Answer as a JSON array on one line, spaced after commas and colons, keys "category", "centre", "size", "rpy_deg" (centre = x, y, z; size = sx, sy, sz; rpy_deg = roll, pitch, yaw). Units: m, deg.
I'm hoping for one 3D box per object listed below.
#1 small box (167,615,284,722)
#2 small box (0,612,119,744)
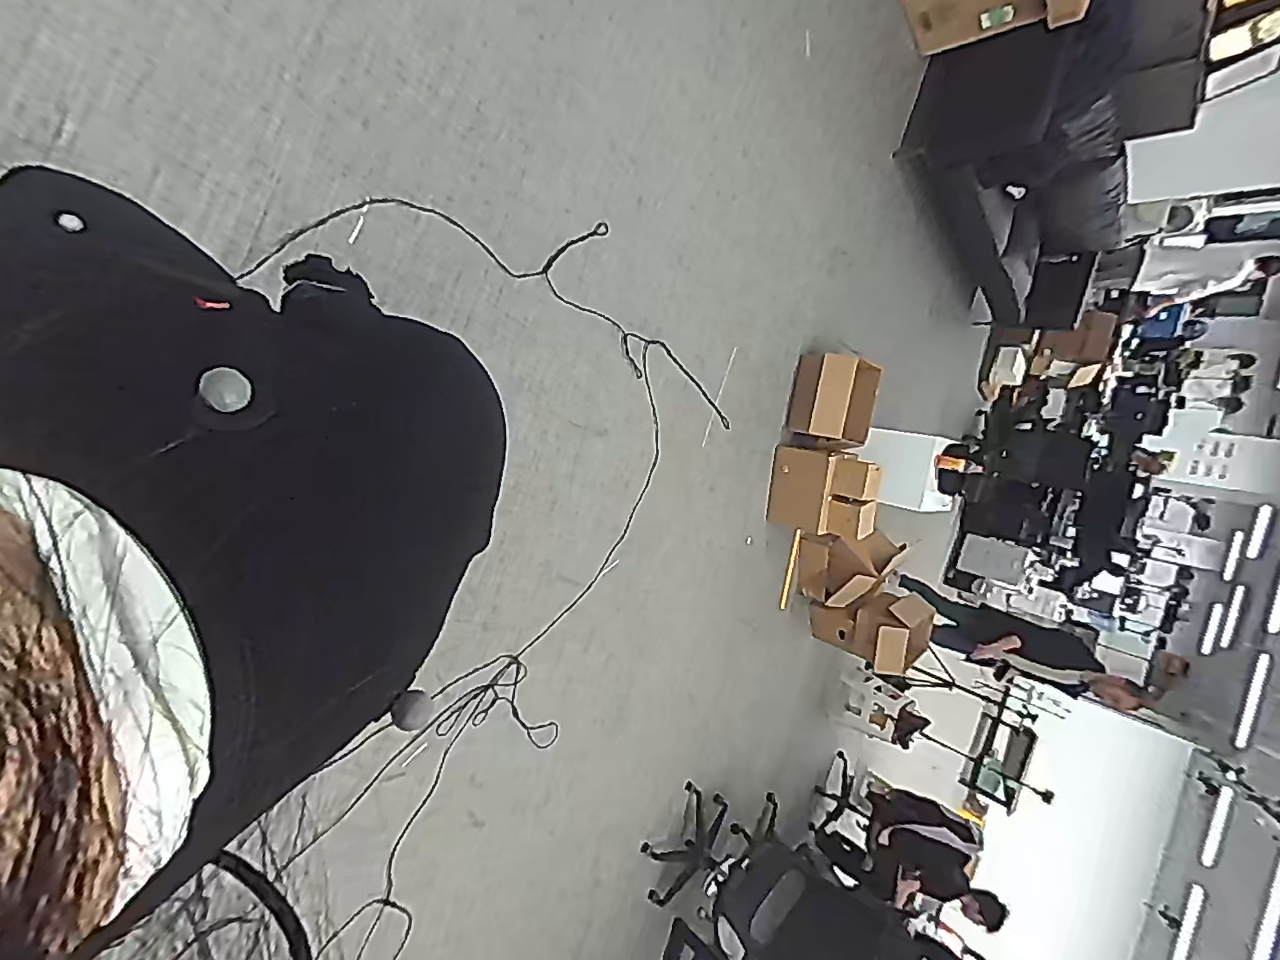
[{"category": "small box", "centre": [-0.942, 0.415, 1.225], "size": [0.168, 0.176, 0.179], "rpy_deg": [15, 91, -47]}, {"category": "small box", "centre": [-1.130, 0.371, 1.023], "size": [0.168, 0.176, 0.179], "rpy_deg": [25, 83, -48]}]
